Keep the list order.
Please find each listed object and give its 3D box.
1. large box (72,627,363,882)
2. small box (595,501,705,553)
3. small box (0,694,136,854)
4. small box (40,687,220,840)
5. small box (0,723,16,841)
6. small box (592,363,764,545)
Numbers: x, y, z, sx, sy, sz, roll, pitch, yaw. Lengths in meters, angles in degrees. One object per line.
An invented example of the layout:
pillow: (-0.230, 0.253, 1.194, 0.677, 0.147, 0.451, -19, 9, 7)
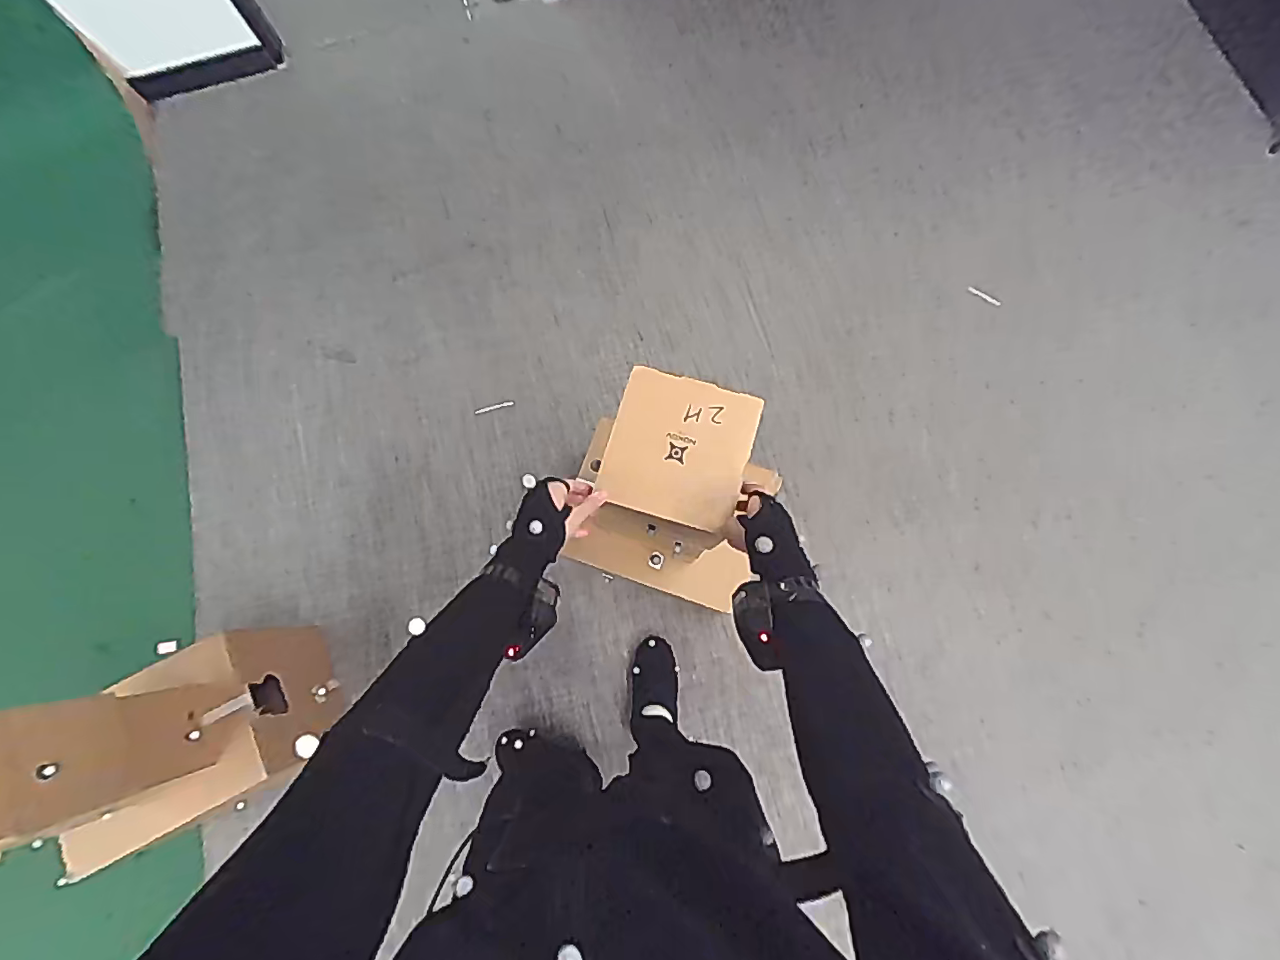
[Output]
large box: (-0.927, 0.567, 1.206, 0.408, 0.320, 0.320, -29, 75, -3)
small box: (0.042, 0.014, 0.870, 0.179, 0.176, 0.168, 17, 78, 5)
small box: (-0.918, 0.448, 0.813, 0.168, 0.176, 0.179, -23, 77, -3)
small box: (-0.916, 0.495, 0.970, 0.179, 0.176, 0.168, -25, 78, -3)
small box: (-0.931, 0.409, 0.654, 0.168, 0.176, 0.179, -25, 78, -3)
small box: (0.048, -0.022, 0.709, 0.168, 0.176, 0.179, 17, 78, 4)
